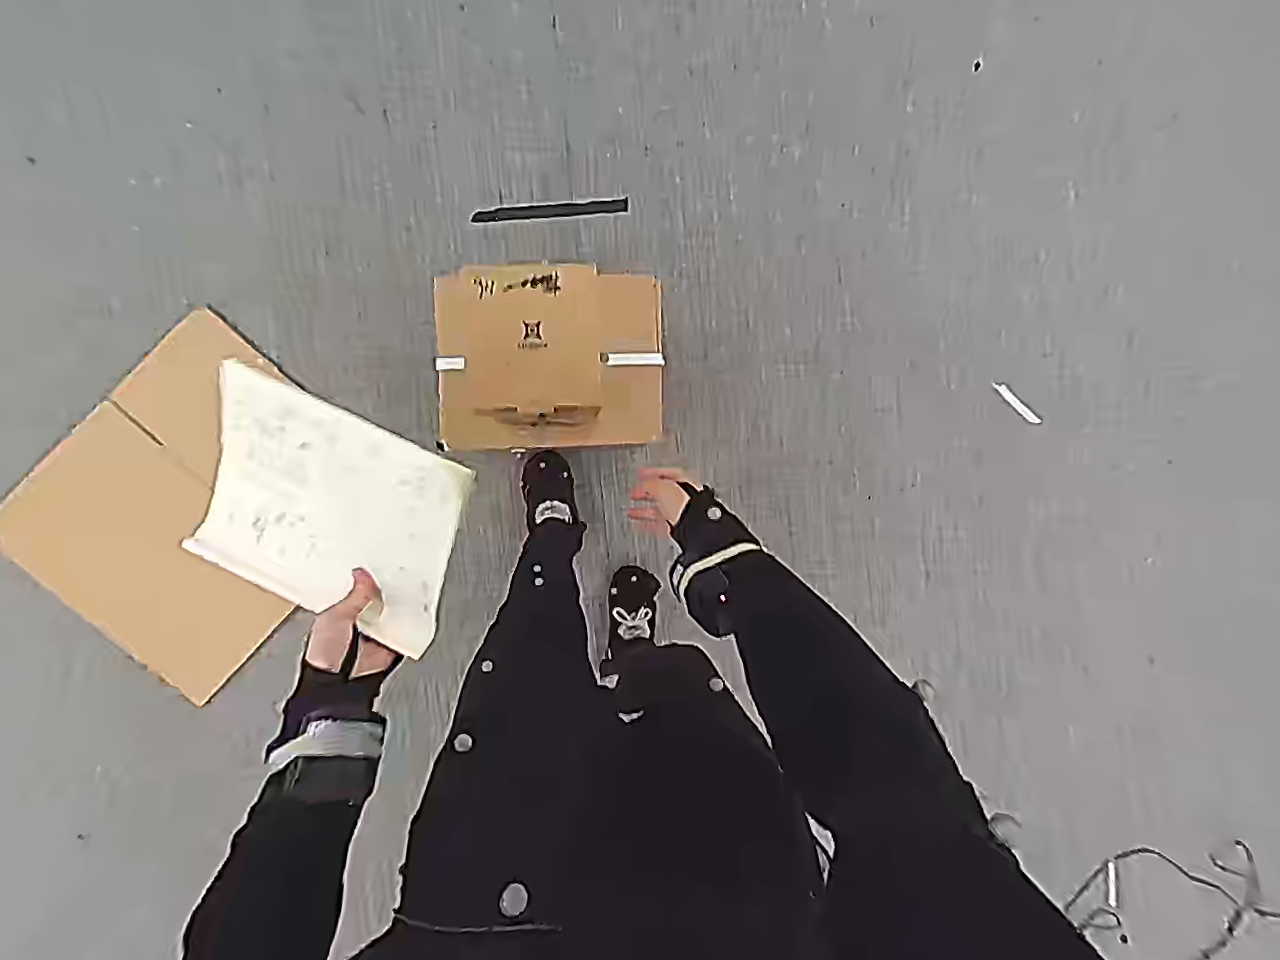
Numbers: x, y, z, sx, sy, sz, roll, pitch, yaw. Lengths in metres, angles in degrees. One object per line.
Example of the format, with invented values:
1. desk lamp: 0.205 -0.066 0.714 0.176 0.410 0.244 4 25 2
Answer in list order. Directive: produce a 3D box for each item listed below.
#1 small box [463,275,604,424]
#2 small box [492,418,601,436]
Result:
1. small box: -0.134 -0.166 0.734 0.168 0.176 0.179 -3 94 -5
2. small box: -0.147 -0.163 0.898 0.168 0.176 0.179 0 92 -5
